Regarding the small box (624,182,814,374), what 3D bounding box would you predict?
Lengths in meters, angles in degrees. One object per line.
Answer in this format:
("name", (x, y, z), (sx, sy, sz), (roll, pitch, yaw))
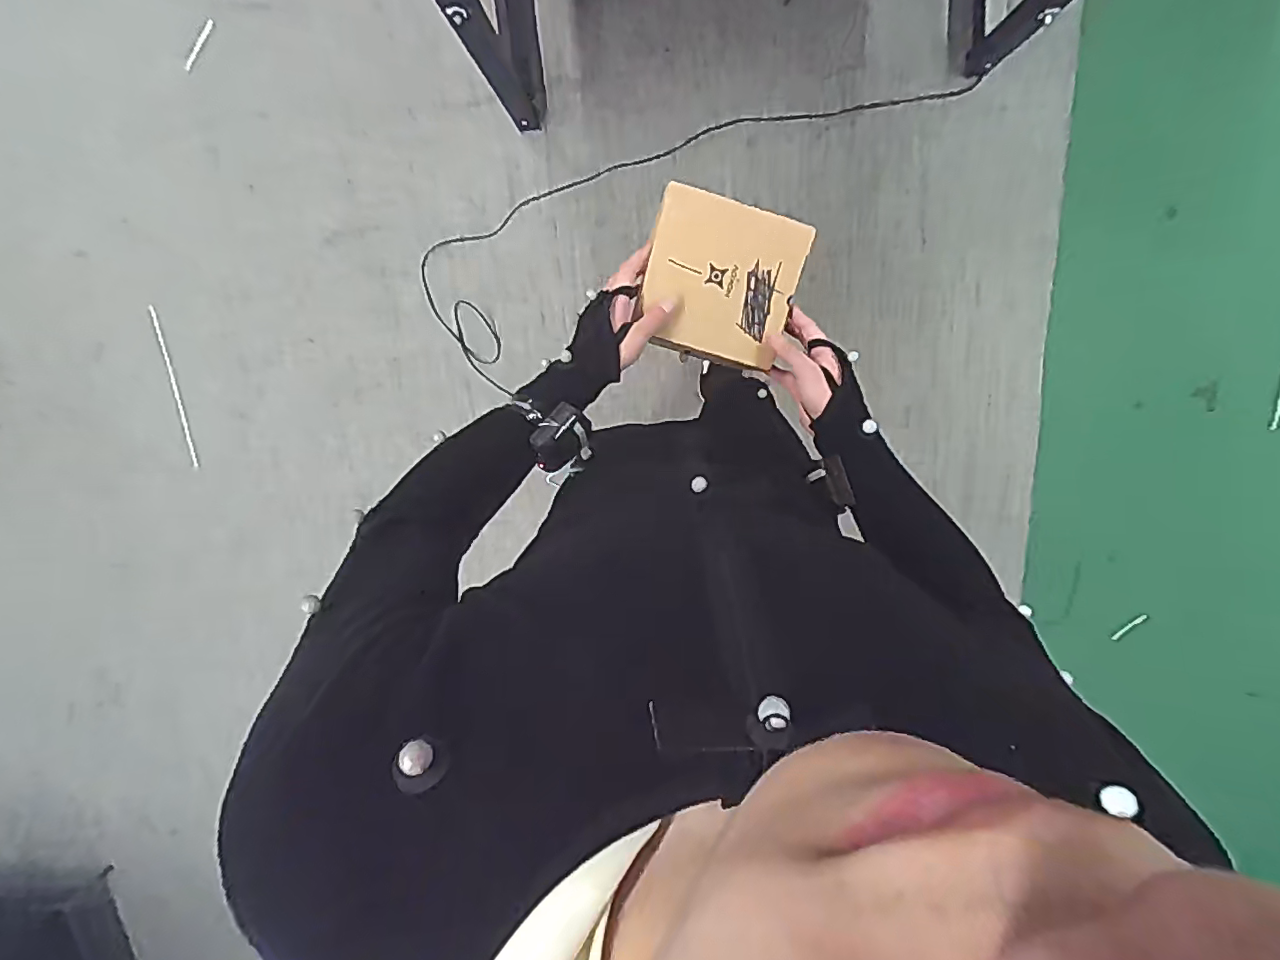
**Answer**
("small box", (0.084, -0.239, 0.680), (0.179, 0.176, 0.168), (14, 101, -6))
